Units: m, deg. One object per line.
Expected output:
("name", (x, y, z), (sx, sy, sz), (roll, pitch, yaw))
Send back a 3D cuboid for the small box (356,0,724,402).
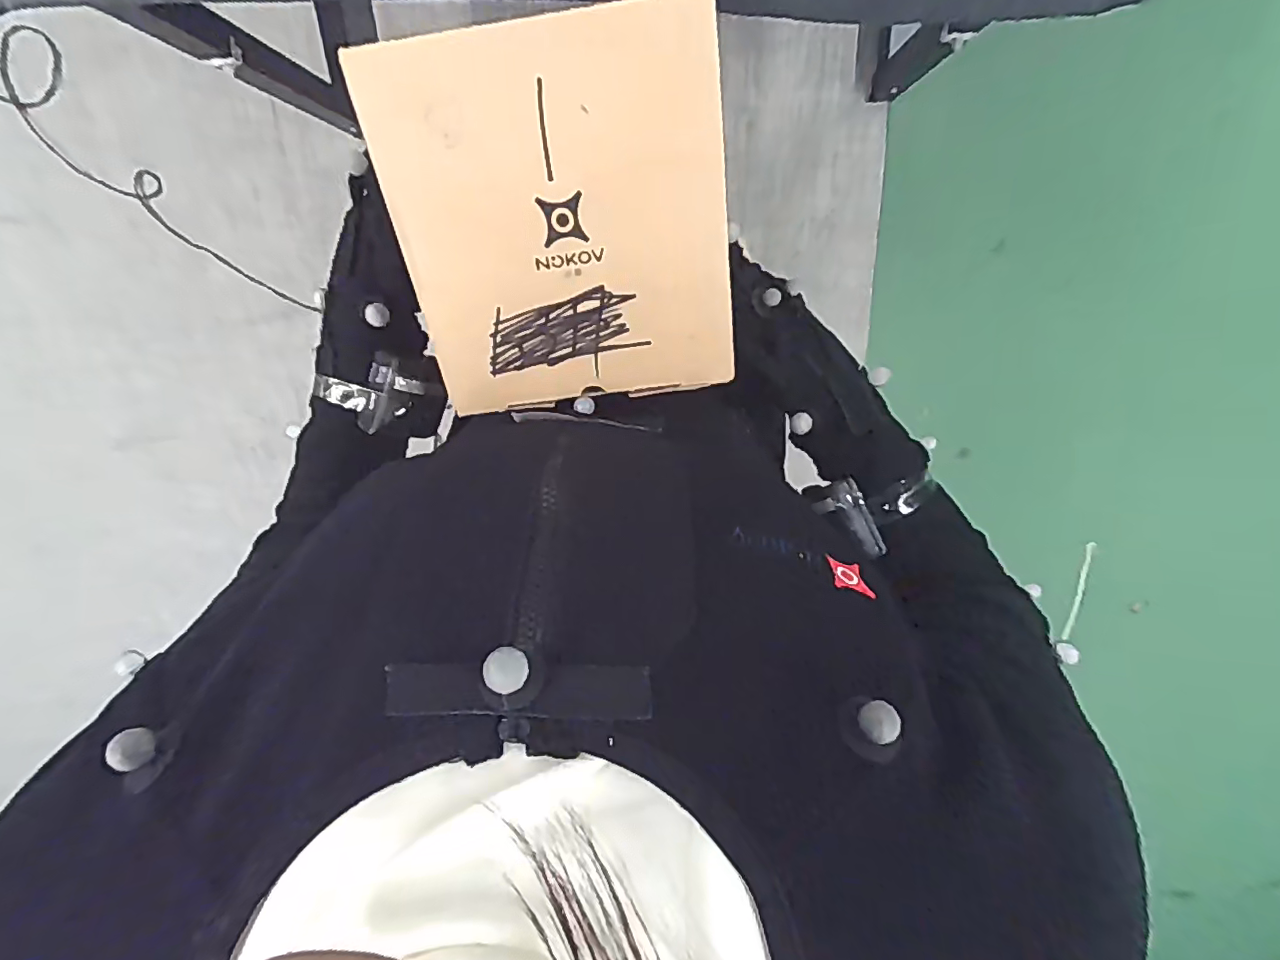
("small box", (-0.038, -0.168, 0.348), (0.168, 0.176, 0.179), (-6, 120, 3))
